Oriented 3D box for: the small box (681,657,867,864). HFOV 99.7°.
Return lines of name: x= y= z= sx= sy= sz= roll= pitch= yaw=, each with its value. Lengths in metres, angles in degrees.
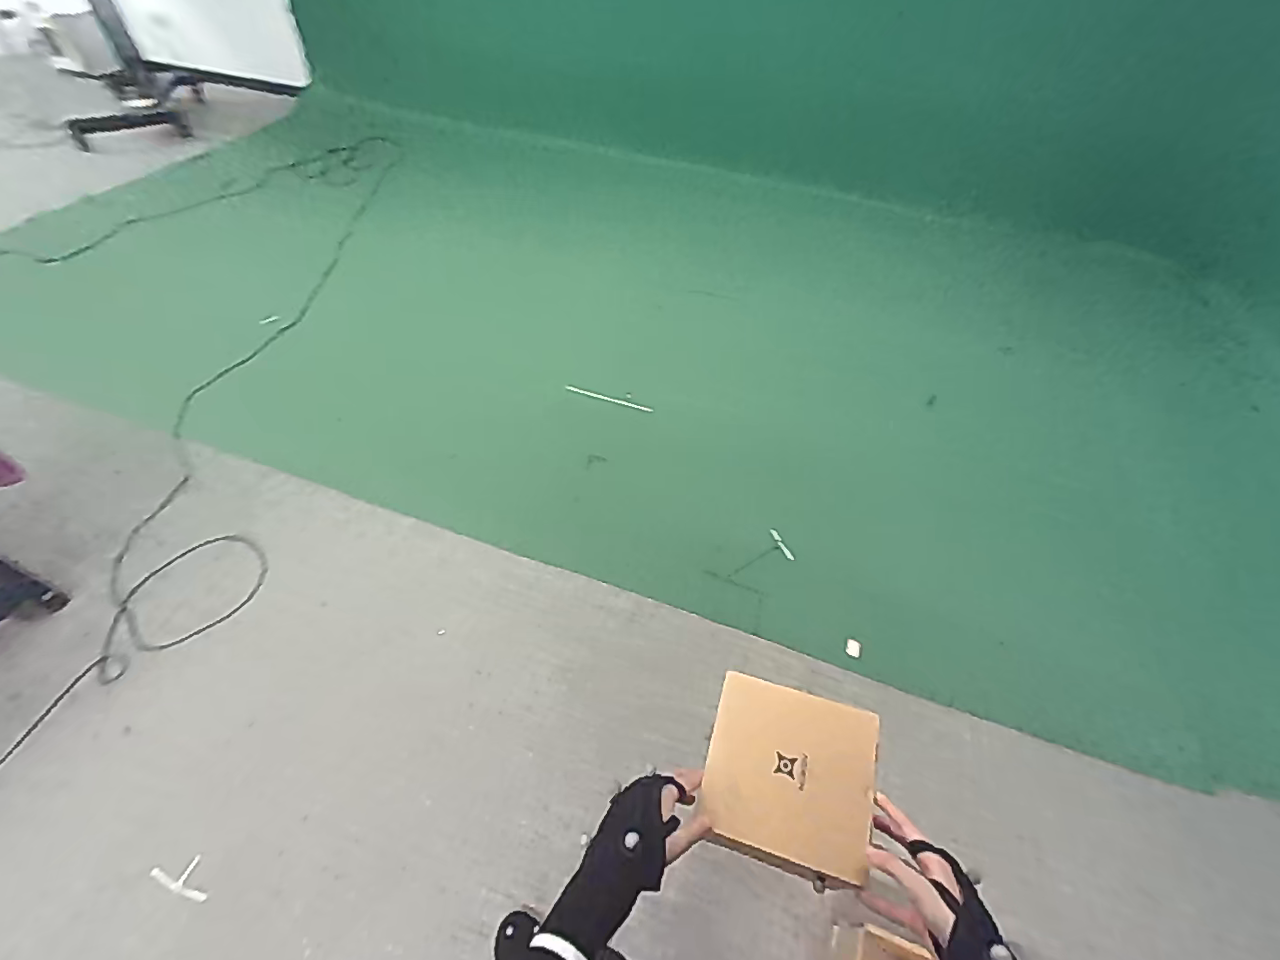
small box: x=0.155 y=0.337 z=0.645 sx=0.179 sy=0.176 sz=0.168 roll=12 pitch=56 yaw=14
